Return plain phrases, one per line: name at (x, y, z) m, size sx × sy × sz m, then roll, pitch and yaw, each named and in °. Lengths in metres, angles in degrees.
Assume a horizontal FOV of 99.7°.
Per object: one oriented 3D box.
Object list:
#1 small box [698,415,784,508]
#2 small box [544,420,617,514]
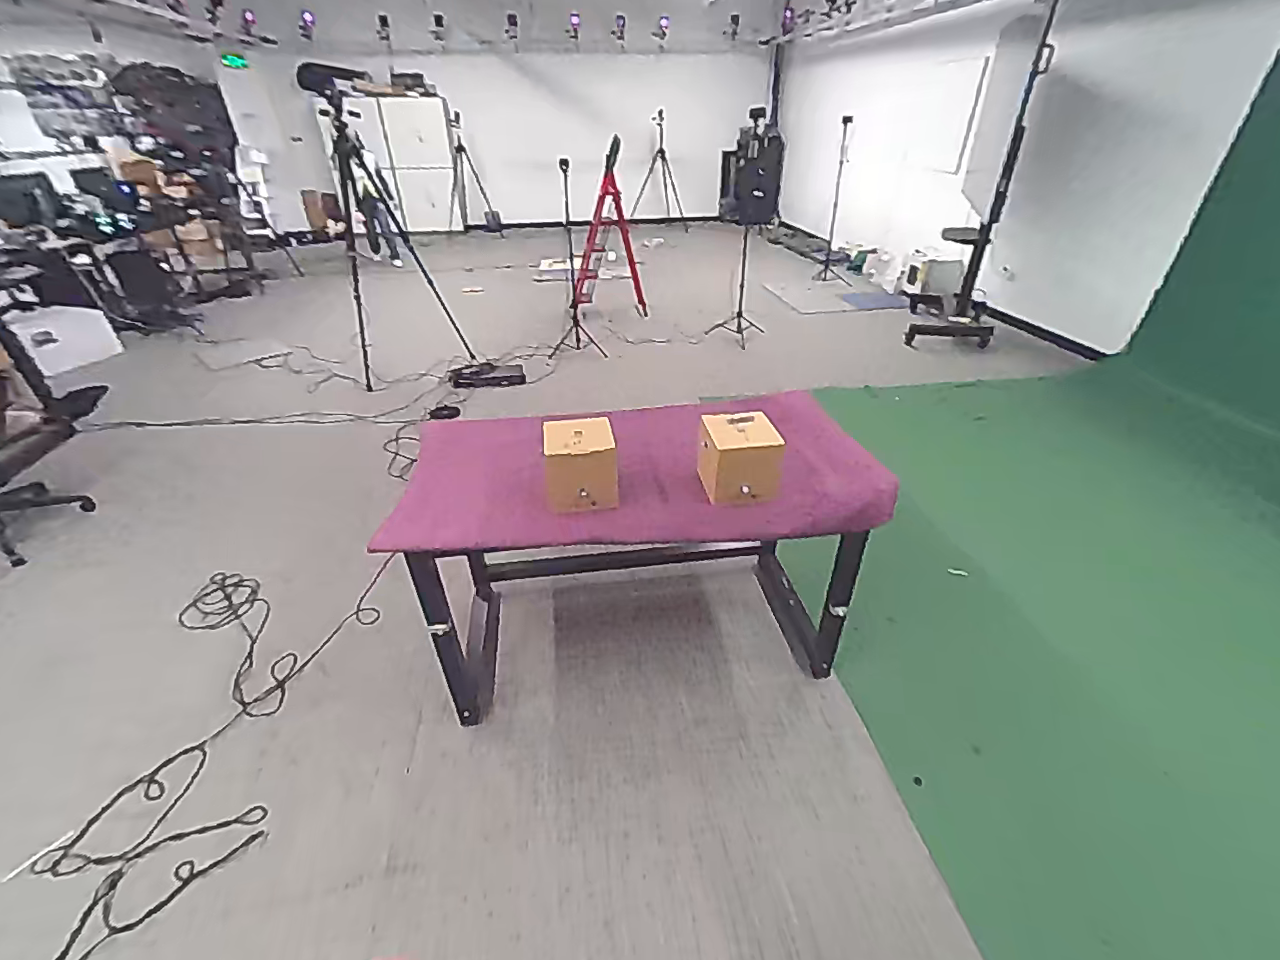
small box at (0.246, -0.048, 1.365) m, size 0.168 × 0.176 × 0.179 m, roll -5°, pitch 34°, yaw -6°
small box at (-0.148, -0.035, 1.345) m, size 0.168 × 0.176 × 0.179 m, roll -6°, pitch 32°, yaw -7°
